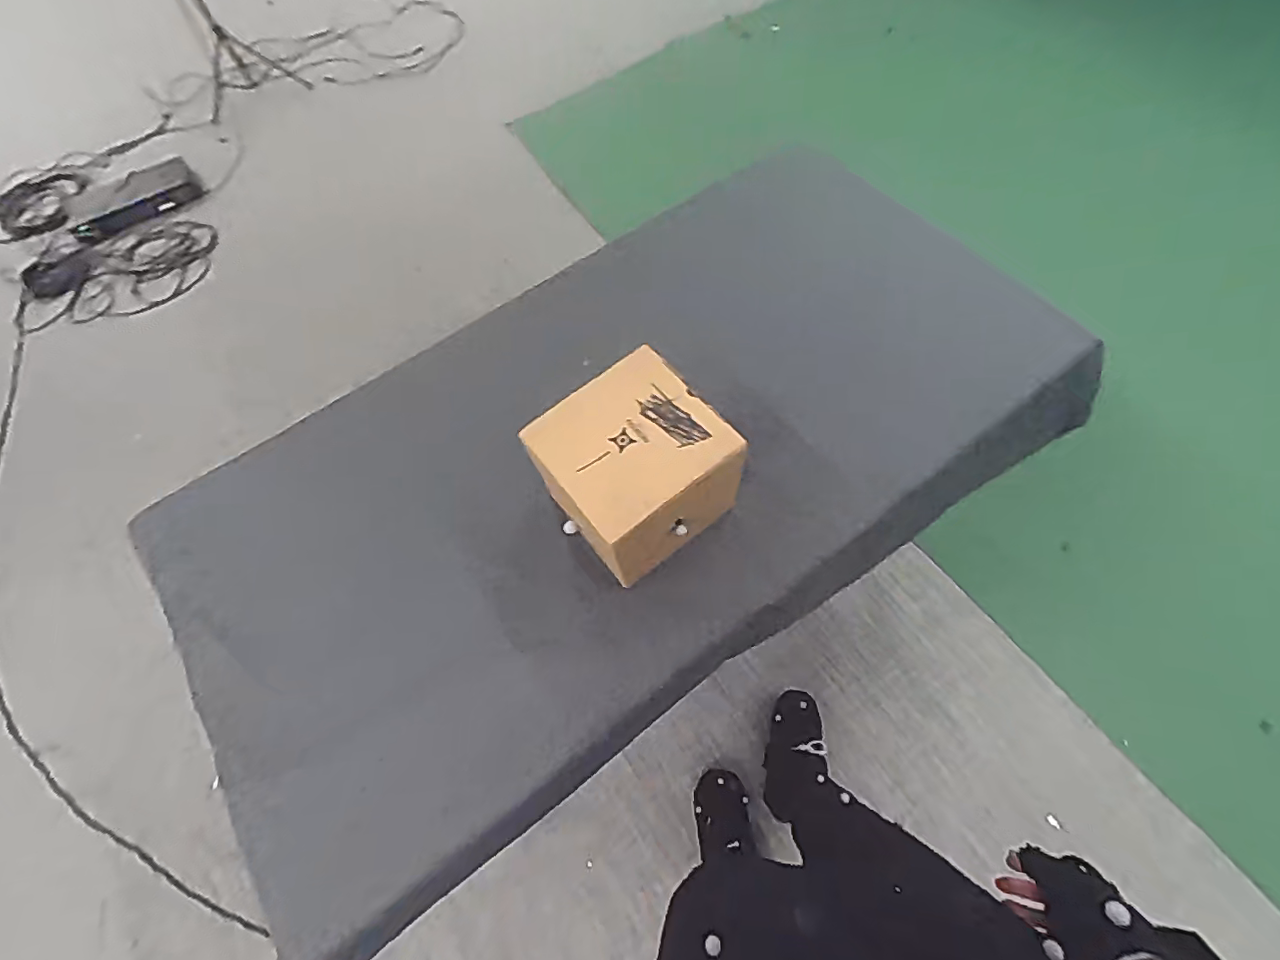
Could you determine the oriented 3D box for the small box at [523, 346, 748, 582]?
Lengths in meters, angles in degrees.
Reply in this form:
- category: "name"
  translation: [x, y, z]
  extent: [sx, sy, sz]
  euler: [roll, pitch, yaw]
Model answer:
- category: "small box"
  translation: [-0.004, -0.011, 0.624]
  extent: [0.179, 0.176, 0.168]
  euler: [-39, 69, -14]
